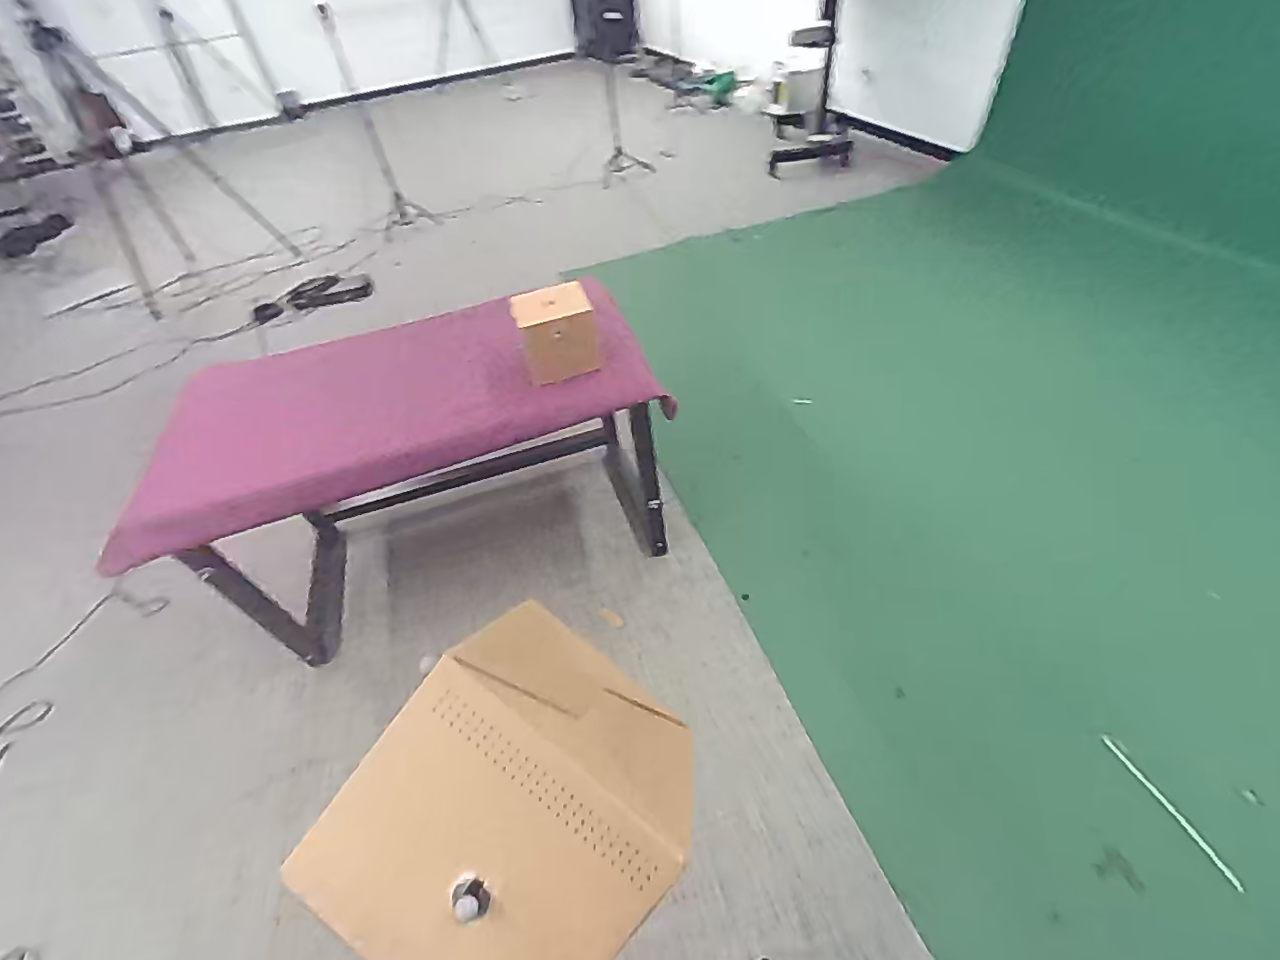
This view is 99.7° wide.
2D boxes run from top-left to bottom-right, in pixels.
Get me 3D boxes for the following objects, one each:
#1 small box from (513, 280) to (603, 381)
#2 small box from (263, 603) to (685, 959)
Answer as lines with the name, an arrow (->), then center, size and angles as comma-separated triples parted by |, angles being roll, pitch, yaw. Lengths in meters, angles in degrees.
small box -> -0.201, -0.367, 1.342 | 0.179, 0.176, 0.168 | -16, 46, -7
small box -> -0.089, 0.209, 0.369 | 0.179, 0.168, 0.176 | 36, 92, 6
